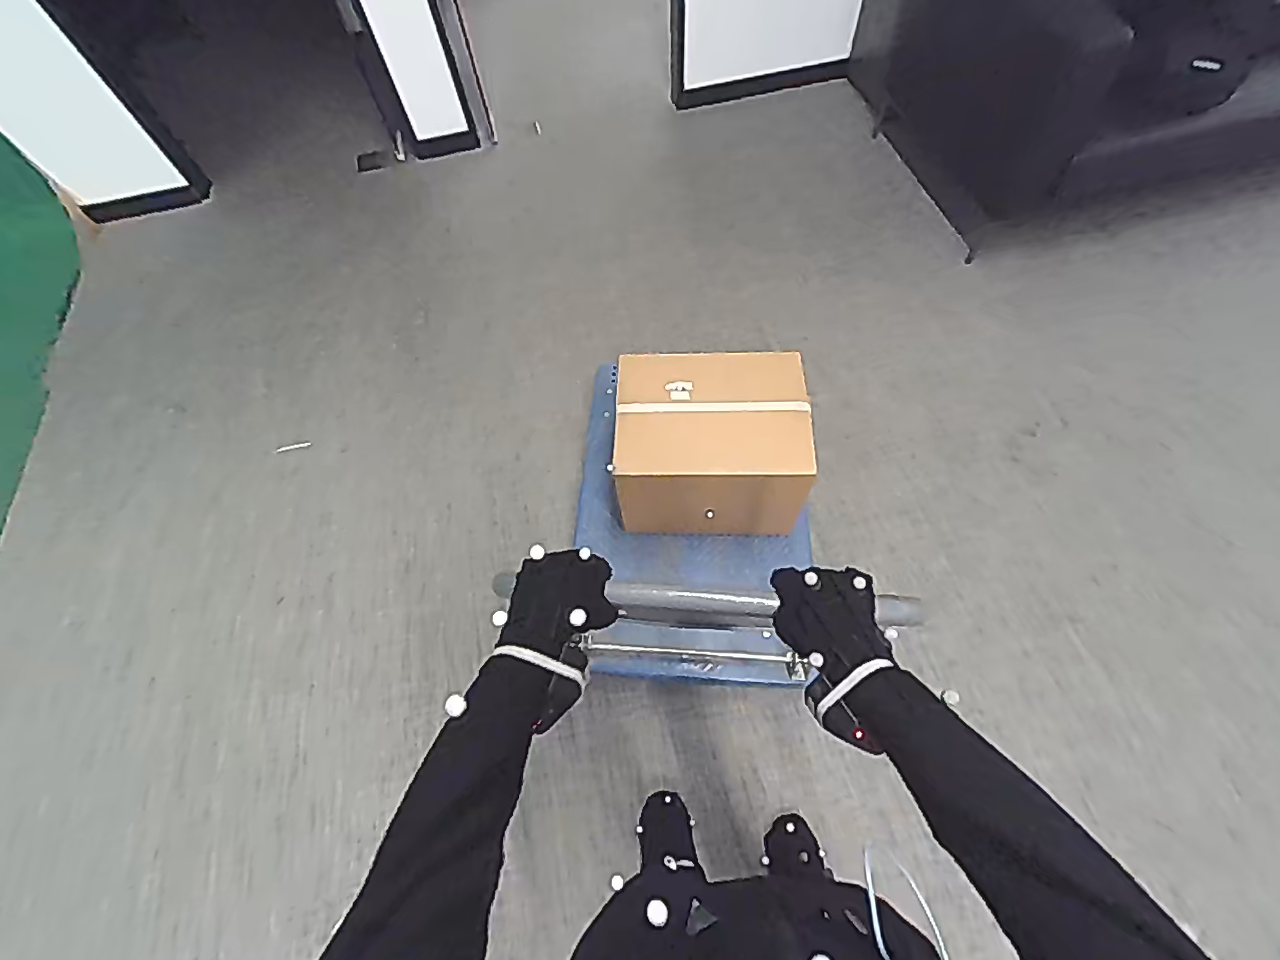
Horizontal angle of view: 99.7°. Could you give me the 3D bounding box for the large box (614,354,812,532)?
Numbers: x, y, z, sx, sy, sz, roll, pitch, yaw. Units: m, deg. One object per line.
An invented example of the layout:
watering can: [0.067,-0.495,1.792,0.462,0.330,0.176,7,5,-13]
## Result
large box: [0.158,-0.073,1.283,0.408,0.320,0.320,-1,62,4]
